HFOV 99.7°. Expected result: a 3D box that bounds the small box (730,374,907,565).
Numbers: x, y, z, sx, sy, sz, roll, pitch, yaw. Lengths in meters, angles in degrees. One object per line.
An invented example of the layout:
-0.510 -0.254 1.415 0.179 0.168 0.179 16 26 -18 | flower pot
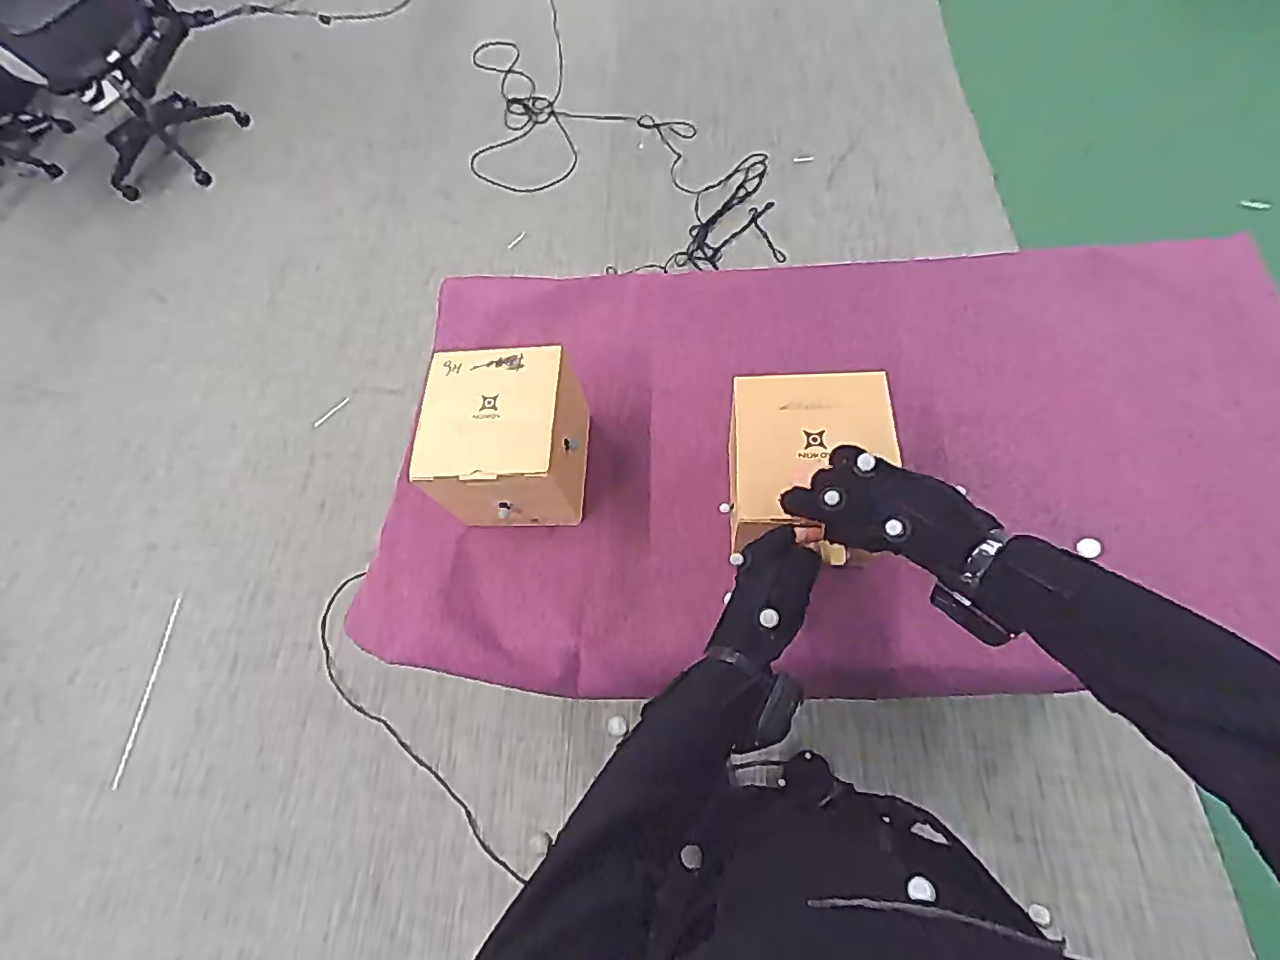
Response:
0.193 -0.003 0.637 0.168 0.176 0.179 0 65 7 | small box

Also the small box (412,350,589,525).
-0.166 -0.045 0.706 0.168 0.176 0.179 -1 66 7 | small box
